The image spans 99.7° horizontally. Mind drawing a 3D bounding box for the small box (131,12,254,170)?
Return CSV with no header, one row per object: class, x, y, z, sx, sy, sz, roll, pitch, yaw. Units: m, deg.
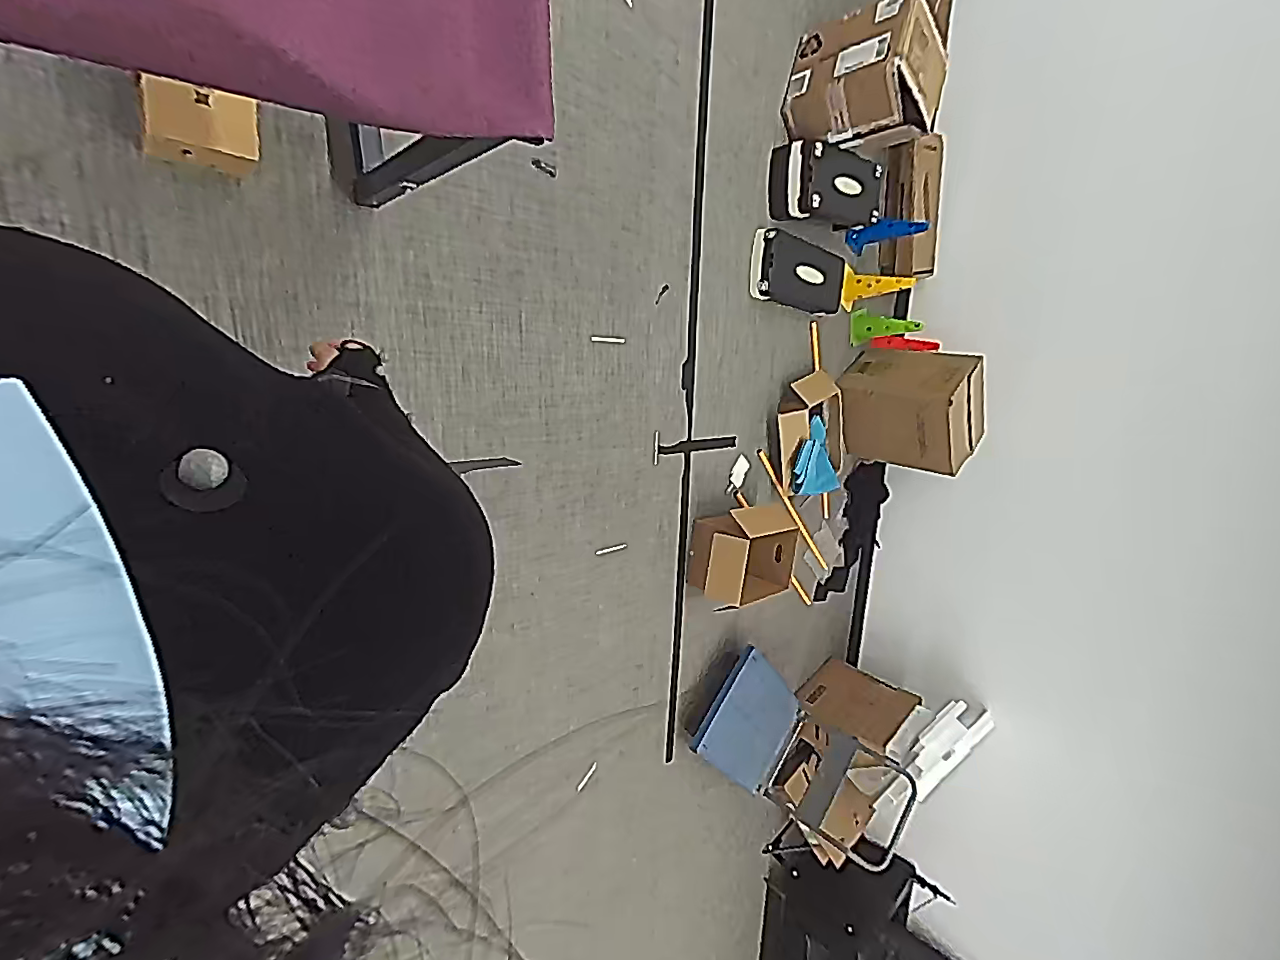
small box,-0.852,-0.720,1.031,0.168,0.176,0.179,-6,105,-43
